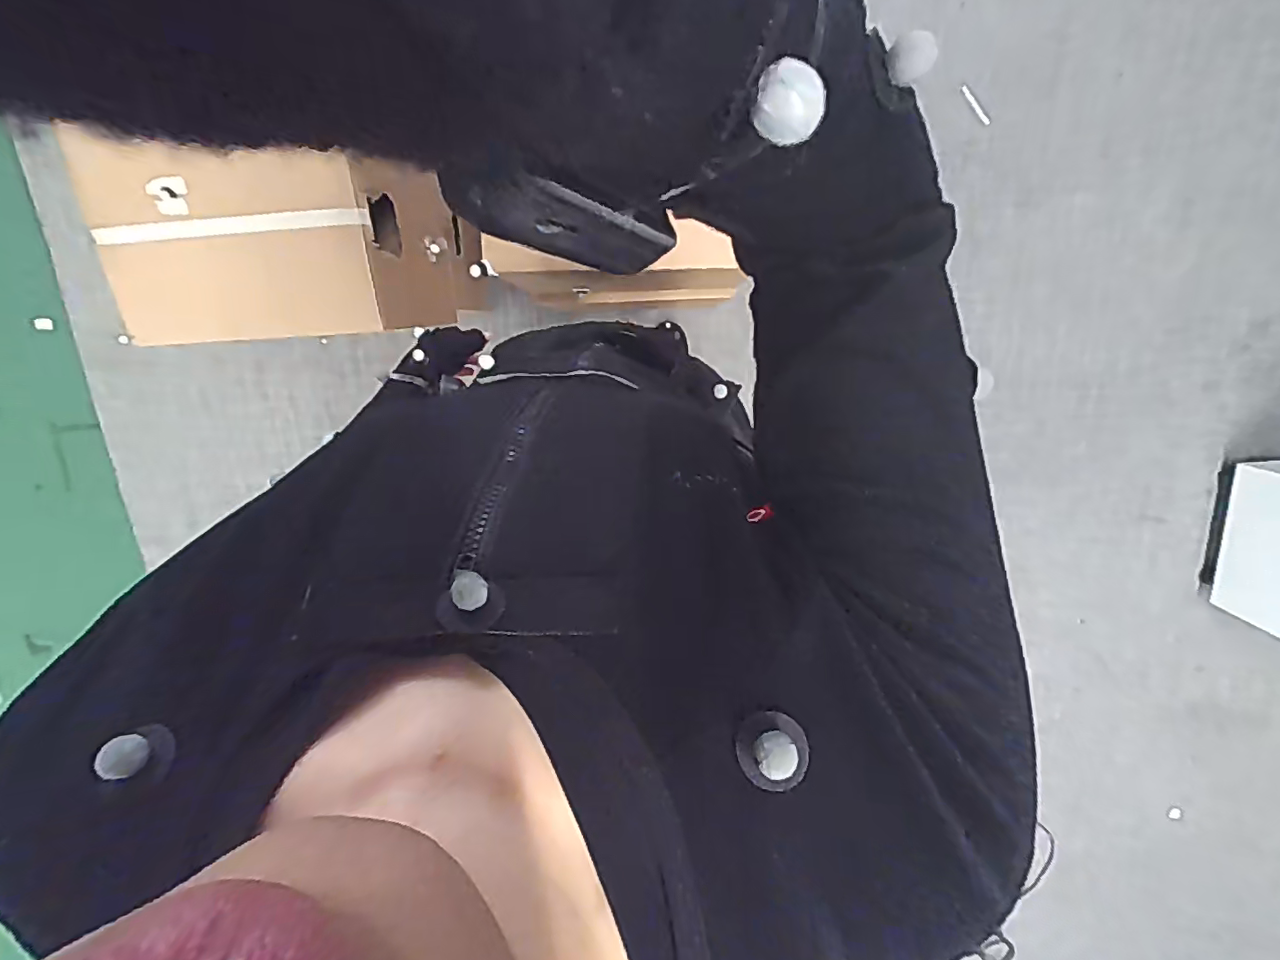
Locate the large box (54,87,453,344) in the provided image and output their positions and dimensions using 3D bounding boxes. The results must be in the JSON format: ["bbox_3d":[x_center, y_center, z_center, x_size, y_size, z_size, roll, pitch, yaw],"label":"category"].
[{"bbox_3d":[-0.587,-0.413,0.912,0.408,0.320,0.320,-2,108,4],"label":"large box"}]
